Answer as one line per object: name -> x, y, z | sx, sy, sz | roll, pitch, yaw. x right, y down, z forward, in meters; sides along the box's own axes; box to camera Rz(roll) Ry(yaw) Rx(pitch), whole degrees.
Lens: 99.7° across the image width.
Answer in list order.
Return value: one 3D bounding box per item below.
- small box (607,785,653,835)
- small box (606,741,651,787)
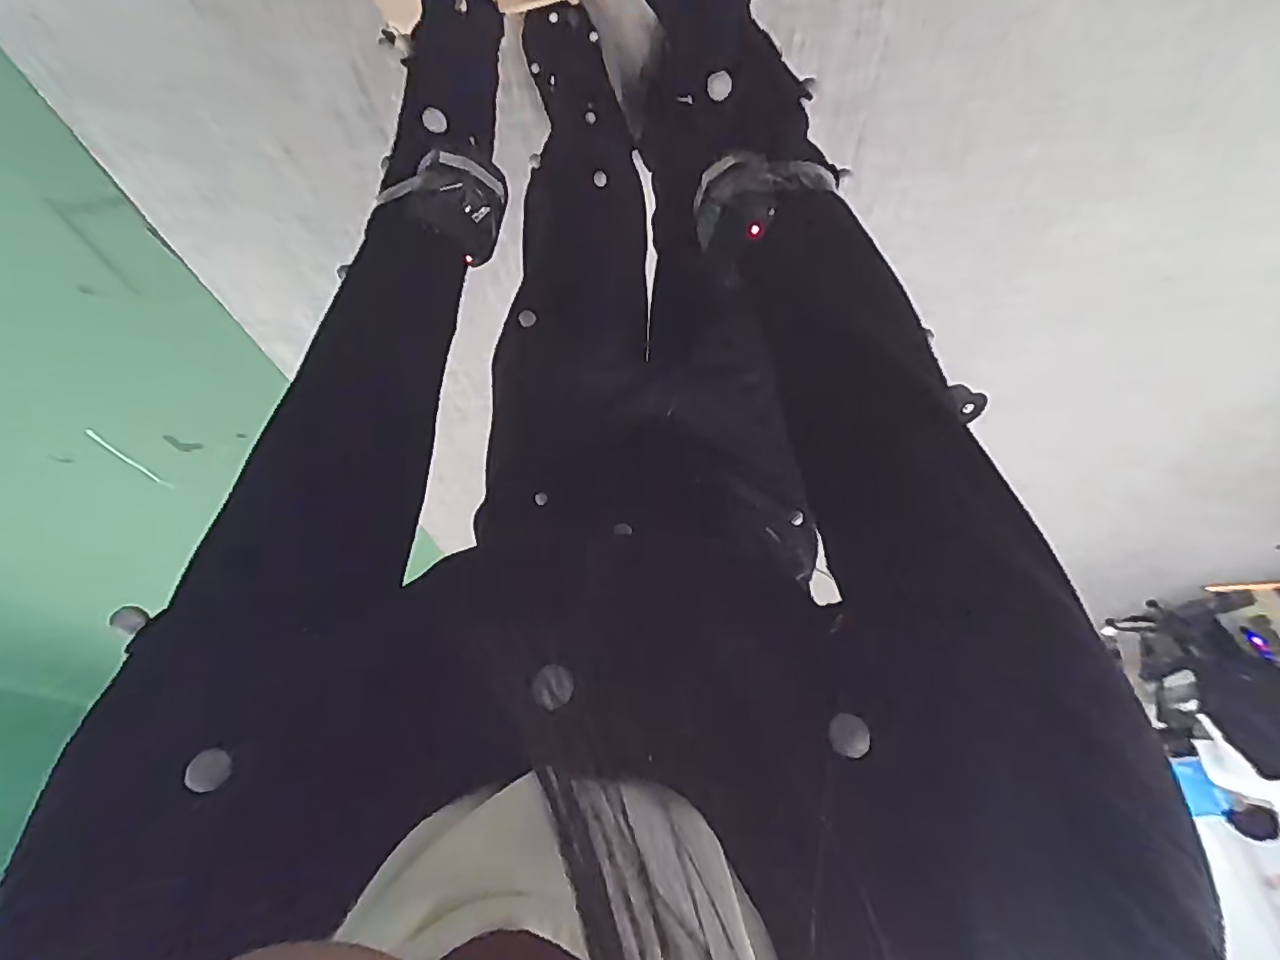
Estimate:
small box -> -0.041, 1.373, 2.257 | 0.168, 0.176, 0.179 | -7, 146, 5
small box -> -0.049, 1.232, 2.340 | 0.179, 0.176, 0.168 | -5, 147, 4
